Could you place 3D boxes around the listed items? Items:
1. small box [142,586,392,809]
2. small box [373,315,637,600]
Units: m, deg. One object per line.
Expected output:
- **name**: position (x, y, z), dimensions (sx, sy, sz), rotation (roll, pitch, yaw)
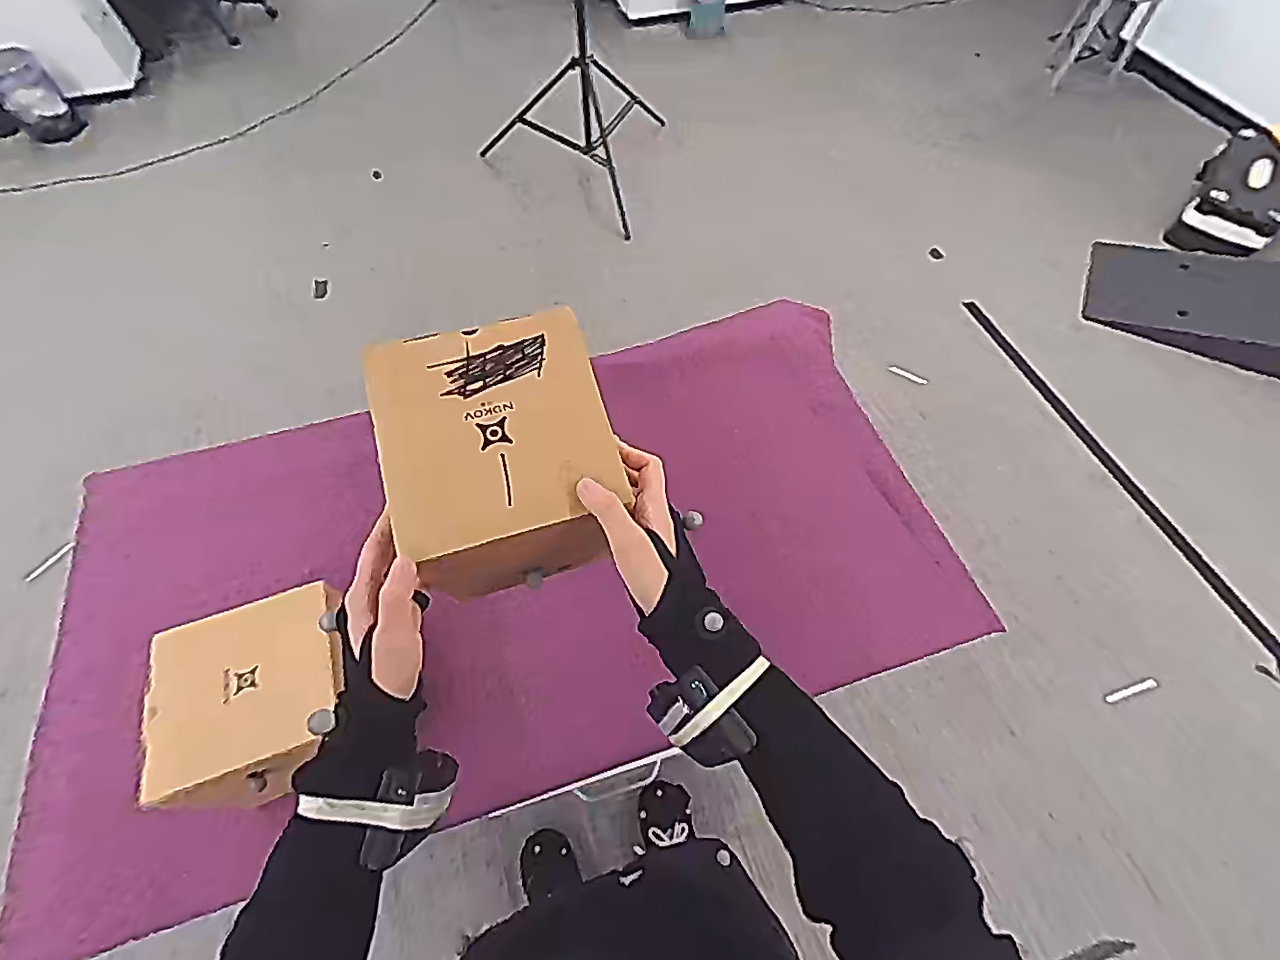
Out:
- **small box**: position (-0.400, 0.246, 0.612), dimensions (0.179, 0.176, 0.168), rotation (-19, 61, -10)
- **small box**: position (-0.110, -0.010, 0.475), dimensions (0.168, 0.176, 0.179), rotation (-15, 72, -10)
